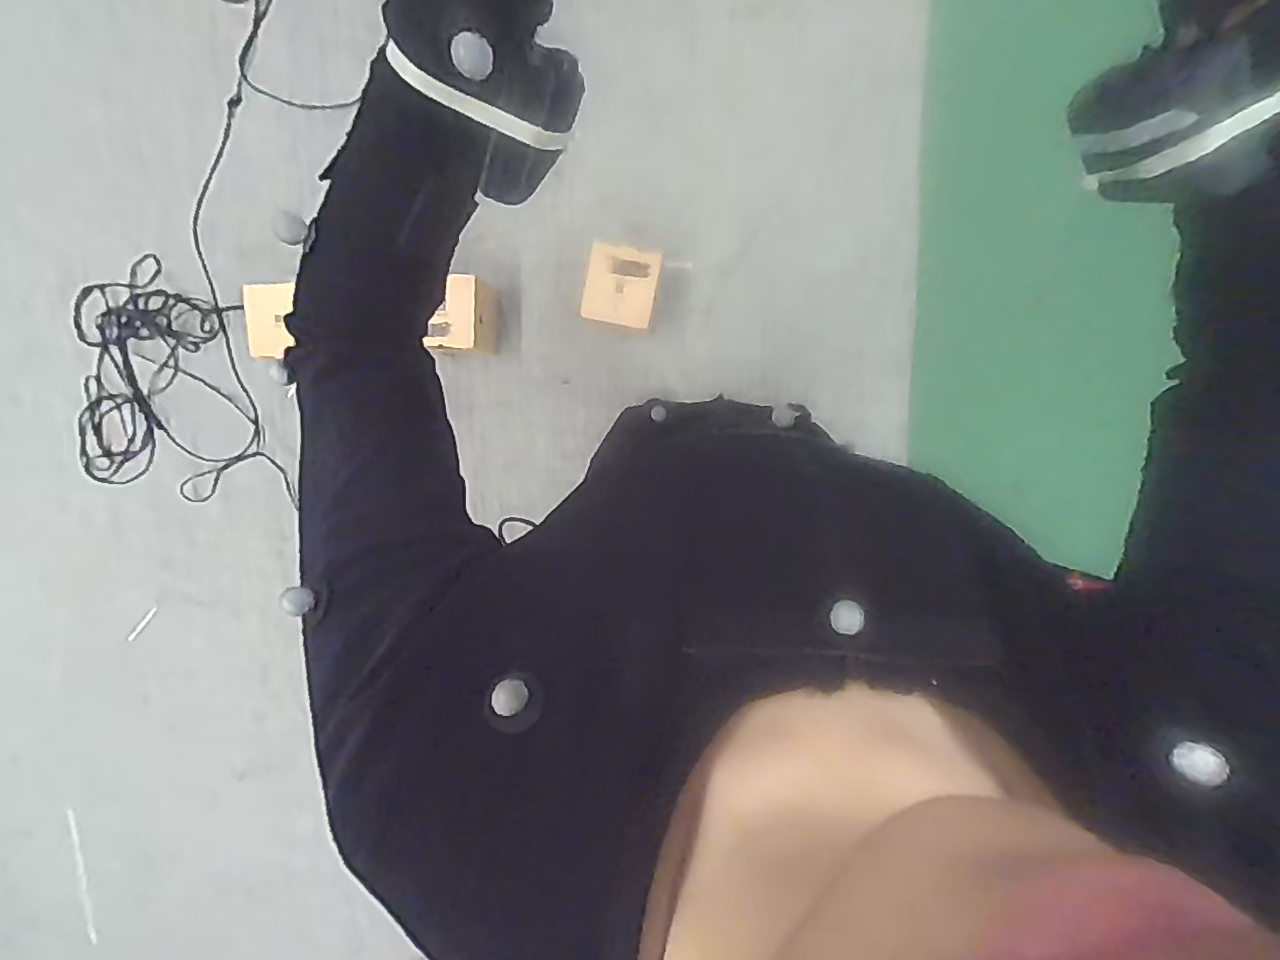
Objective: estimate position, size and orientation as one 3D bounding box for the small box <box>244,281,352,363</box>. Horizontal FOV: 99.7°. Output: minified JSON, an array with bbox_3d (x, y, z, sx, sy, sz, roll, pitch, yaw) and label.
[{"bbox_3d":[-0.874,-0.401,1.395,0.168,0.176,0.179,-2,97,3],"label":"small box"}]

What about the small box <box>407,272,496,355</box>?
[{"bbox_3d":[-0.472,-0.415,1.372,0.168,0.176,0.179,3,97,3],"label":"small box"}]
